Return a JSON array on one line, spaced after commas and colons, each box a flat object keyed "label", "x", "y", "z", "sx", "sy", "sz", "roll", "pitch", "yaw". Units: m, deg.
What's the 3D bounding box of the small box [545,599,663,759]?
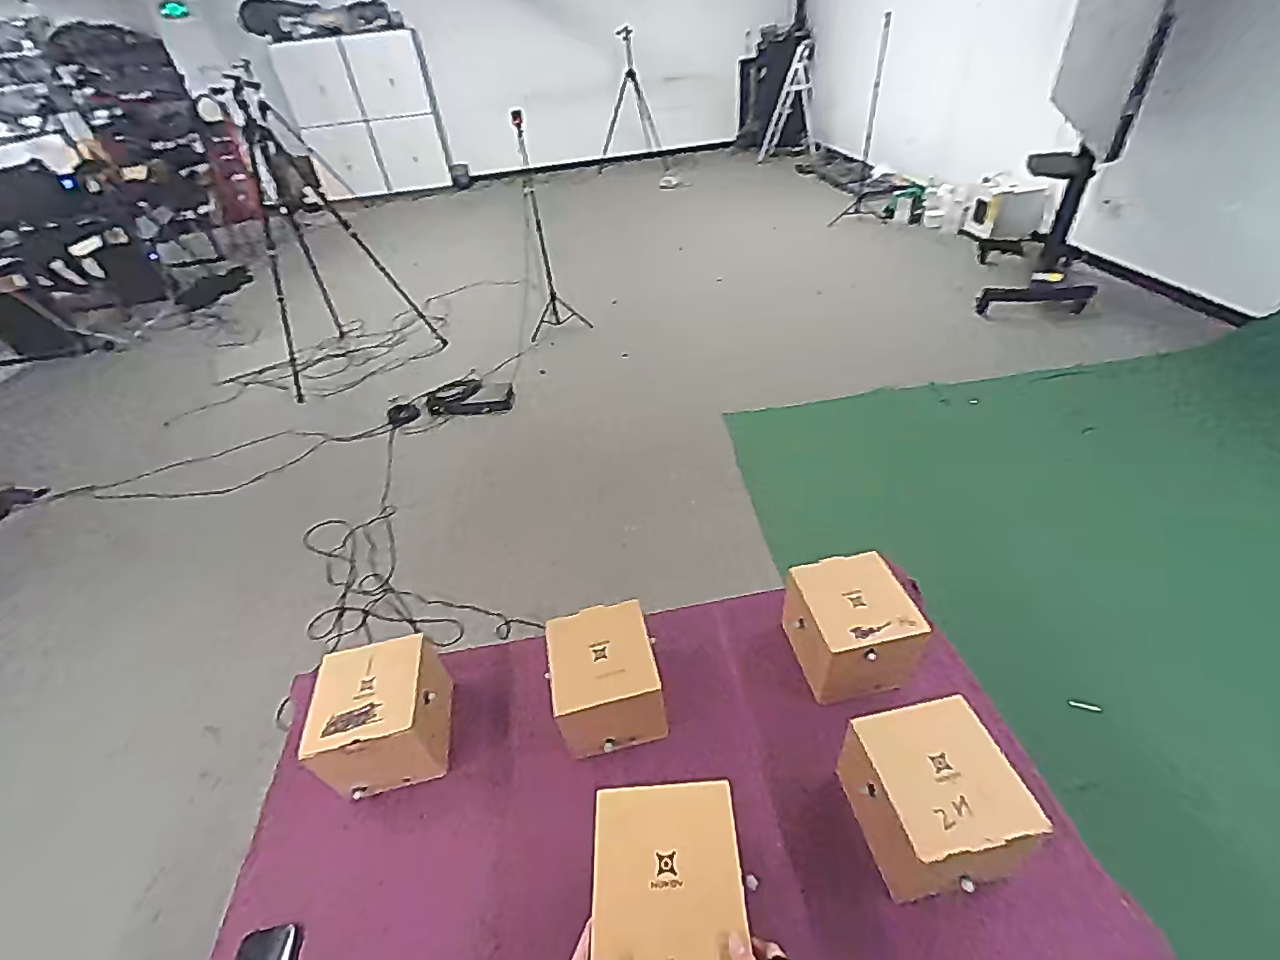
[{"label": "small box", "x": -0.061, "y": 0.335, "z": 0.914, "sx": 0.168, "sy": 0.176, "sz": 0.179, "roll": -12, "pitch": 41, "yaw": -5}]

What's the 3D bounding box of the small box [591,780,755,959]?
[{"label": "small box", "x": 0.040, "y": 0.487, "z": 0.645, "sx": 0.168, "sy": 0.176, "sz": 0.179, "roll": -6, "pitch": 41, "yaw": 4}]

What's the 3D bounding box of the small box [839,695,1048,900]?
[{"label": "small box", "x": 0.388, "y": 0.428, "z": 0.735, "sx": 0.168, "sy": 0.176, "sz": 0.179, "roll": -11, "pitch": 39, "yaw": -3}]

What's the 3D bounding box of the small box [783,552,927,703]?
[{"label": "small box", "x": 0.360, "y": 0.257, "z": 0.947, "sx": 0.168, "sy": 0.176, "sz": 0.179, "roll": -11, "pitch": 40, "yaw": -4}]

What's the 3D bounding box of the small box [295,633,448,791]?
[{"label": "small box", "x": -0.428, "y": 0.389, "z": 0.897, "sx": 0.168, "sy": 0.176, "sz": 0.179, "roll": -11, "pitch": 40, "yaw": -6}]
